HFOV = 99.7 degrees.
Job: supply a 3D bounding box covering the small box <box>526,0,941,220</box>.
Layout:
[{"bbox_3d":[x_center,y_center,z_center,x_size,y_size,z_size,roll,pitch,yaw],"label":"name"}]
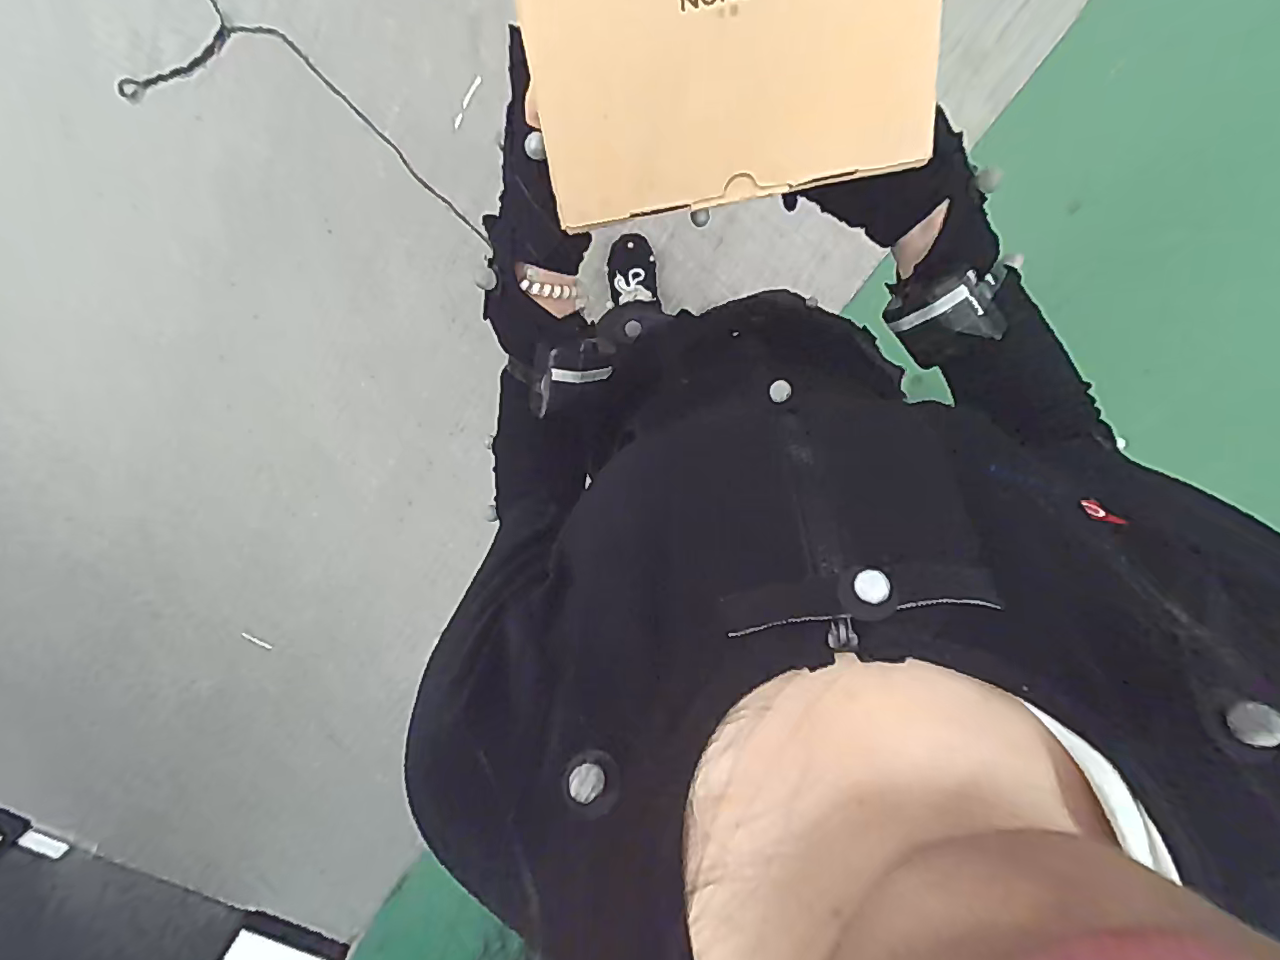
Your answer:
[{"bbox_3d":[0.036,-0.244,0.278,0.168,0.176,0.179,-7,118,7],"label":"small box"}]
